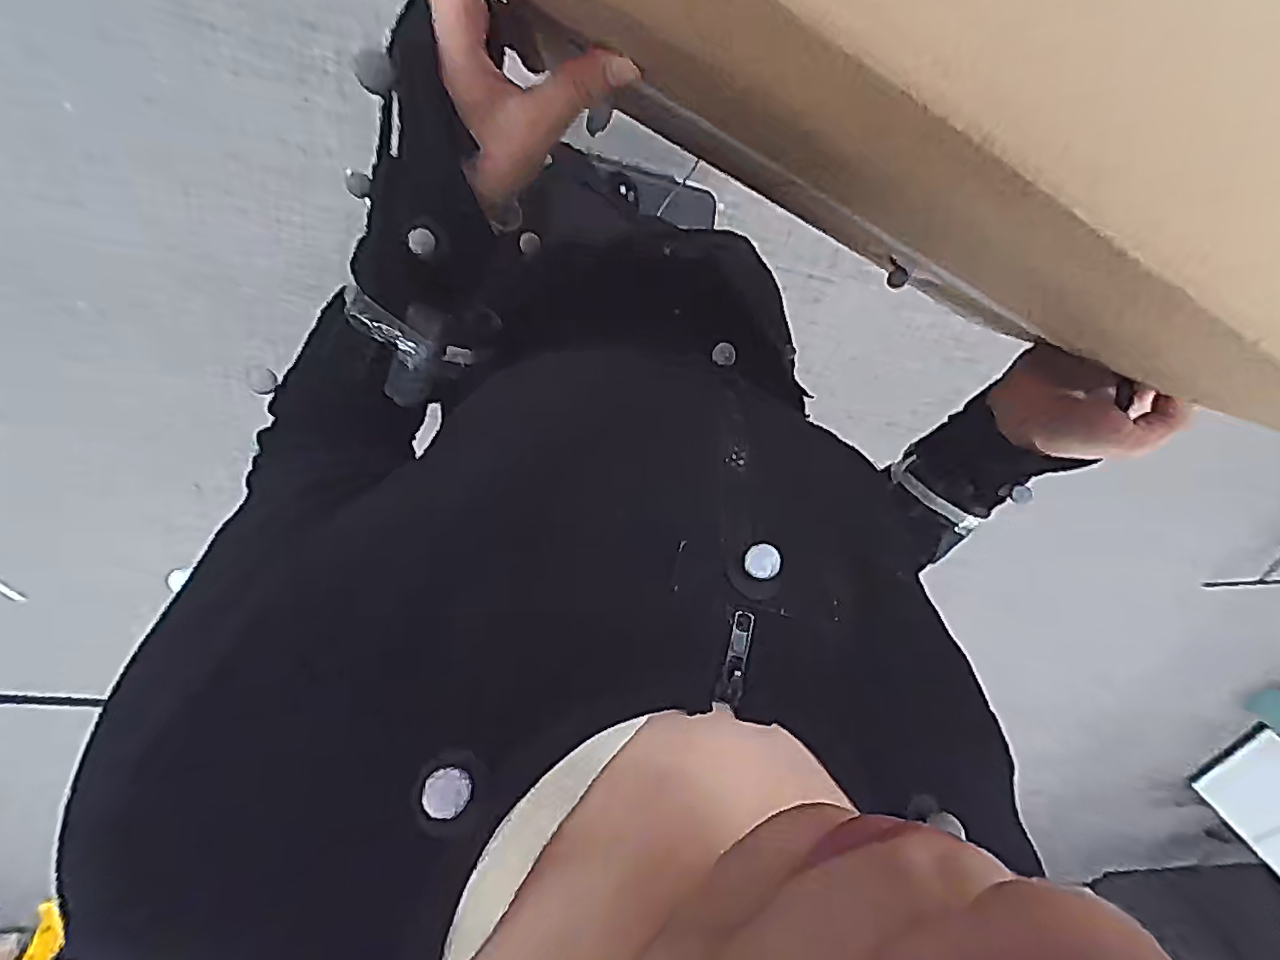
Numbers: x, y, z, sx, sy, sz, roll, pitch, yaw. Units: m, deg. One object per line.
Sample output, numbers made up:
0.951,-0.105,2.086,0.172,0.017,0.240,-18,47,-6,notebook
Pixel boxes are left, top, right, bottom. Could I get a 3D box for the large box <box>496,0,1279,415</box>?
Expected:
0.176,-0.270,0.221,0.408,0.320,0.320,21,116,-15,large box
